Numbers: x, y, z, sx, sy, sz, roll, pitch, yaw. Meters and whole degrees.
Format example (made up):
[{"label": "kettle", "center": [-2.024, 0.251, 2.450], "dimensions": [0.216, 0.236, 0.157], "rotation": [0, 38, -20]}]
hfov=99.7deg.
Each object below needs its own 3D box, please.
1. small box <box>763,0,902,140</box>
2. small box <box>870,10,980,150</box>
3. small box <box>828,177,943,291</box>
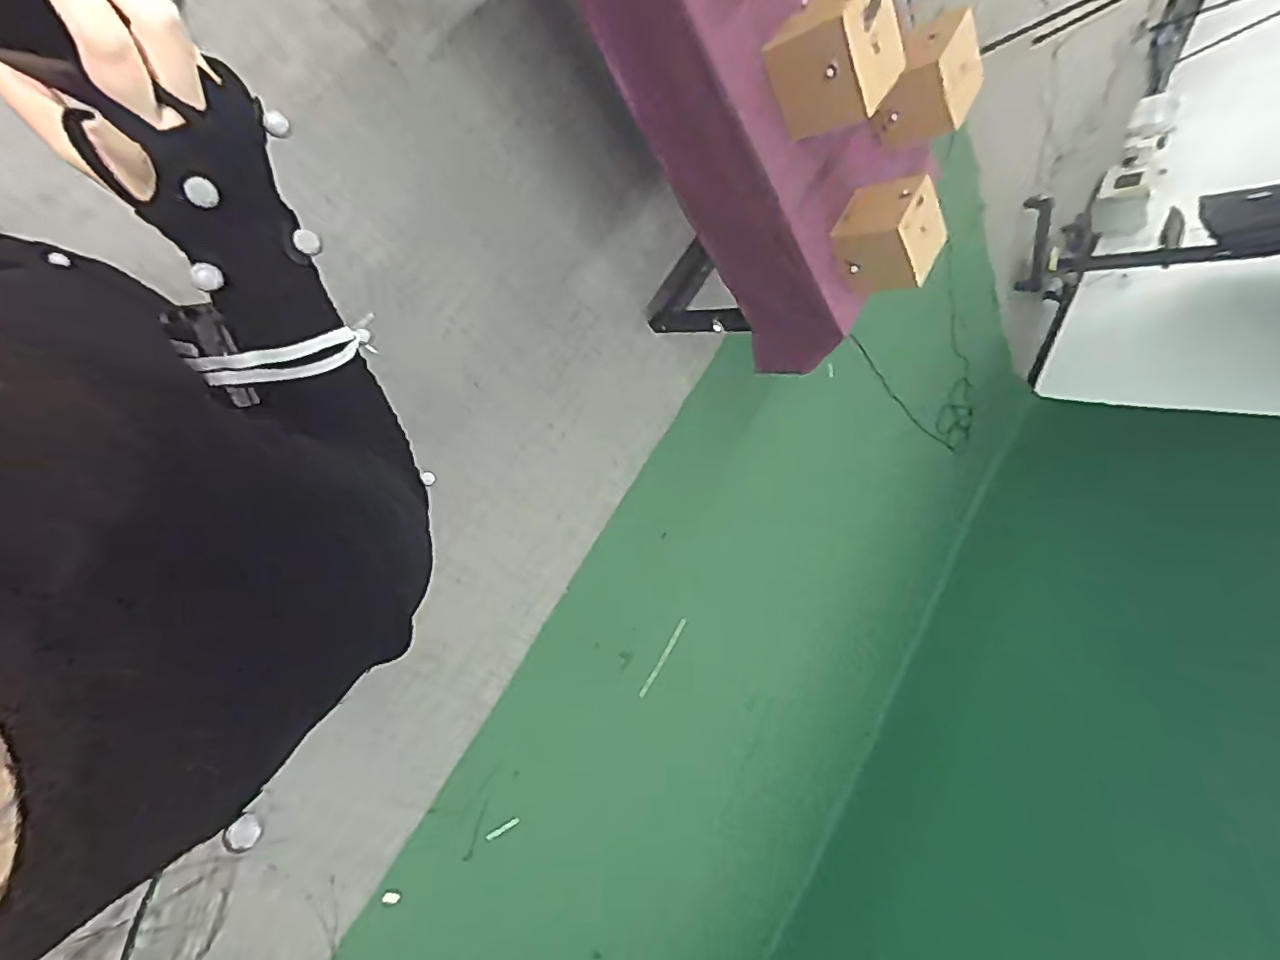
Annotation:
[{"label": "small box", "center": [0.361, -0.789, 1.023], "dimensions": [0.168, 0.176, 0.179], "rotation": [-55, 130, -16]}, {"label": "small box", "center": [0.640, -0.899, 1.232], "dimensions": [0.168, 0.176, 0.179], "rotation": [40, 75, -39]}, {"label": "small box", "center": [0.571, -0.562, 1.261], "dimensions": [0.179, 0.176, 0.168], "rotation": [42, 73, -39]}]
